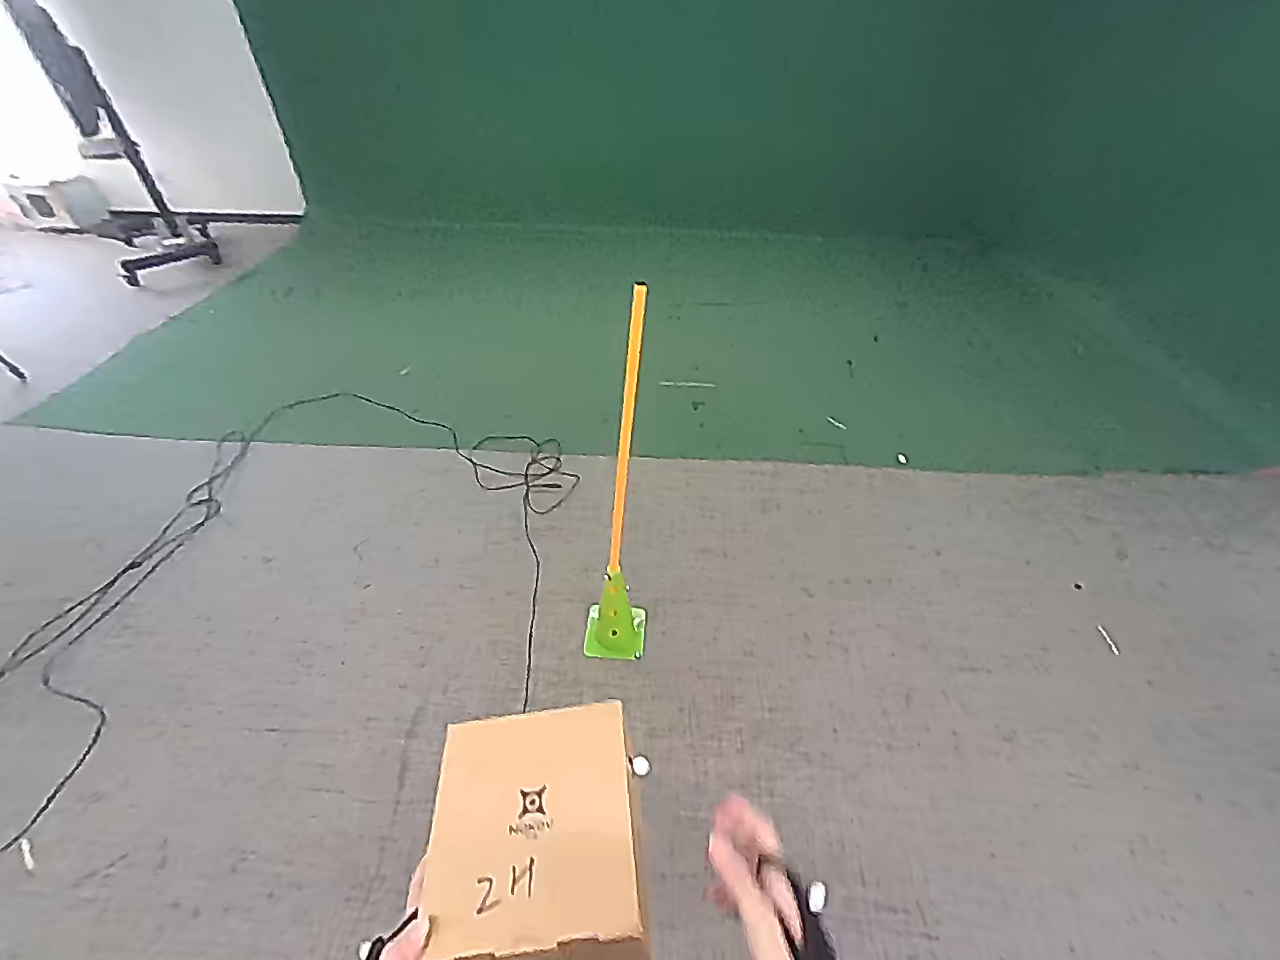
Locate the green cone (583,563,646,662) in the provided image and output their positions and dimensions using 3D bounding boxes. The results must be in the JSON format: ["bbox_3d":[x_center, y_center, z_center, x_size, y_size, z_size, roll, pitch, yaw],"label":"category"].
[{"bbox_3d":[-0.085,0.394,1.724,0.202,0.368,0.200,3,41,3],"label":"green cone"}]
